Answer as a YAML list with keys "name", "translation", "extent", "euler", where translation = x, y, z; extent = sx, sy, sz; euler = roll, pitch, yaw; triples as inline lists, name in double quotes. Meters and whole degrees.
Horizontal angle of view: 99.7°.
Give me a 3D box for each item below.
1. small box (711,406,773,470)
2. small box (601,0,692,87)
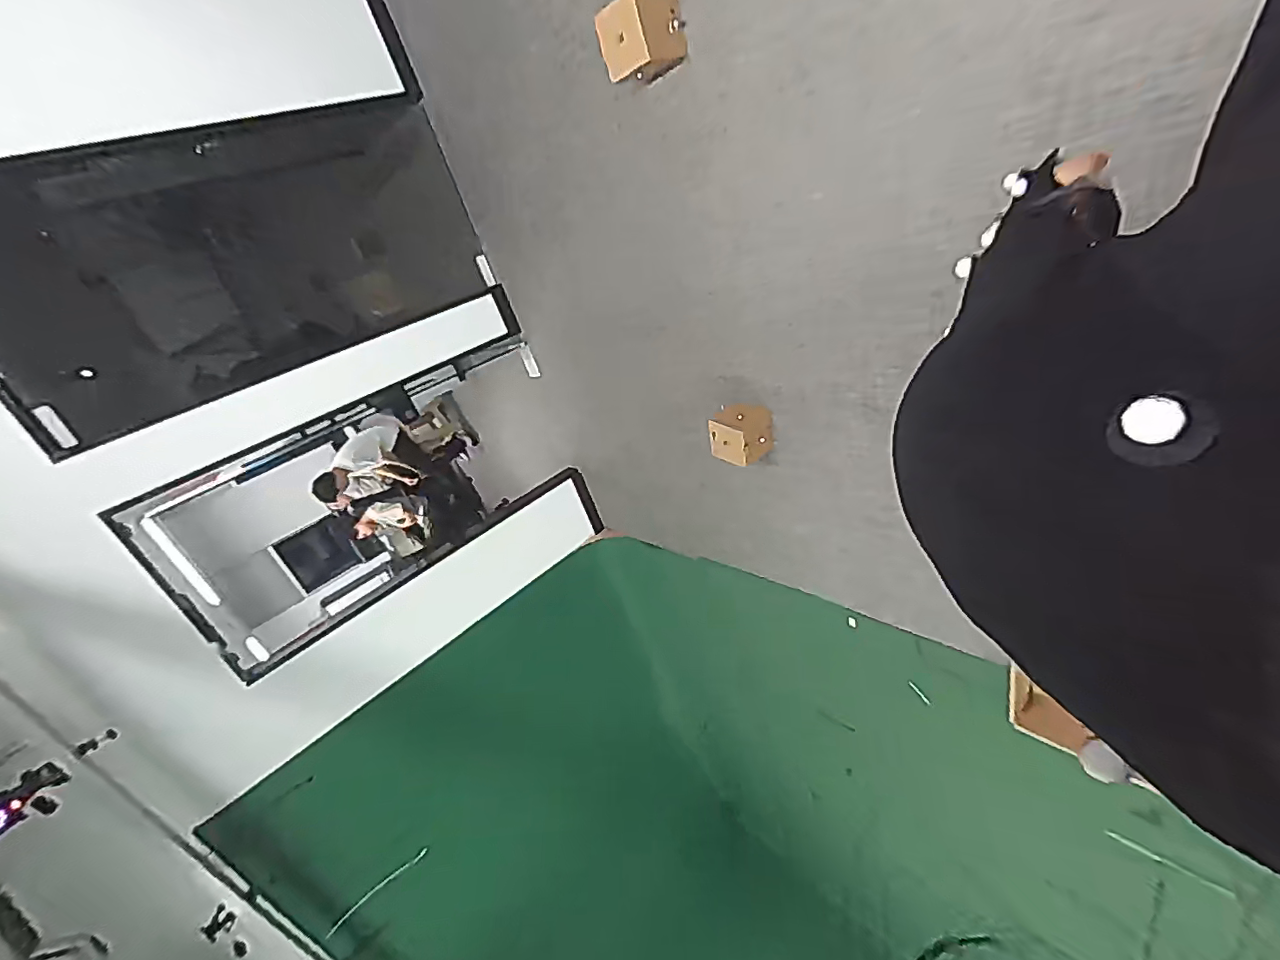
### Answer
- name: "small box"
  translation: [0.402, -0.169, 2.098]
  extent: [0.179, 0.176, 0.168]
  euler: [26, 139, 41]
- name: "small box"
  translation: [0.021, -1.272, 1.563]
  extent: [0.179, 0.176, 0.168]
  euler: [13, 131, 49]
